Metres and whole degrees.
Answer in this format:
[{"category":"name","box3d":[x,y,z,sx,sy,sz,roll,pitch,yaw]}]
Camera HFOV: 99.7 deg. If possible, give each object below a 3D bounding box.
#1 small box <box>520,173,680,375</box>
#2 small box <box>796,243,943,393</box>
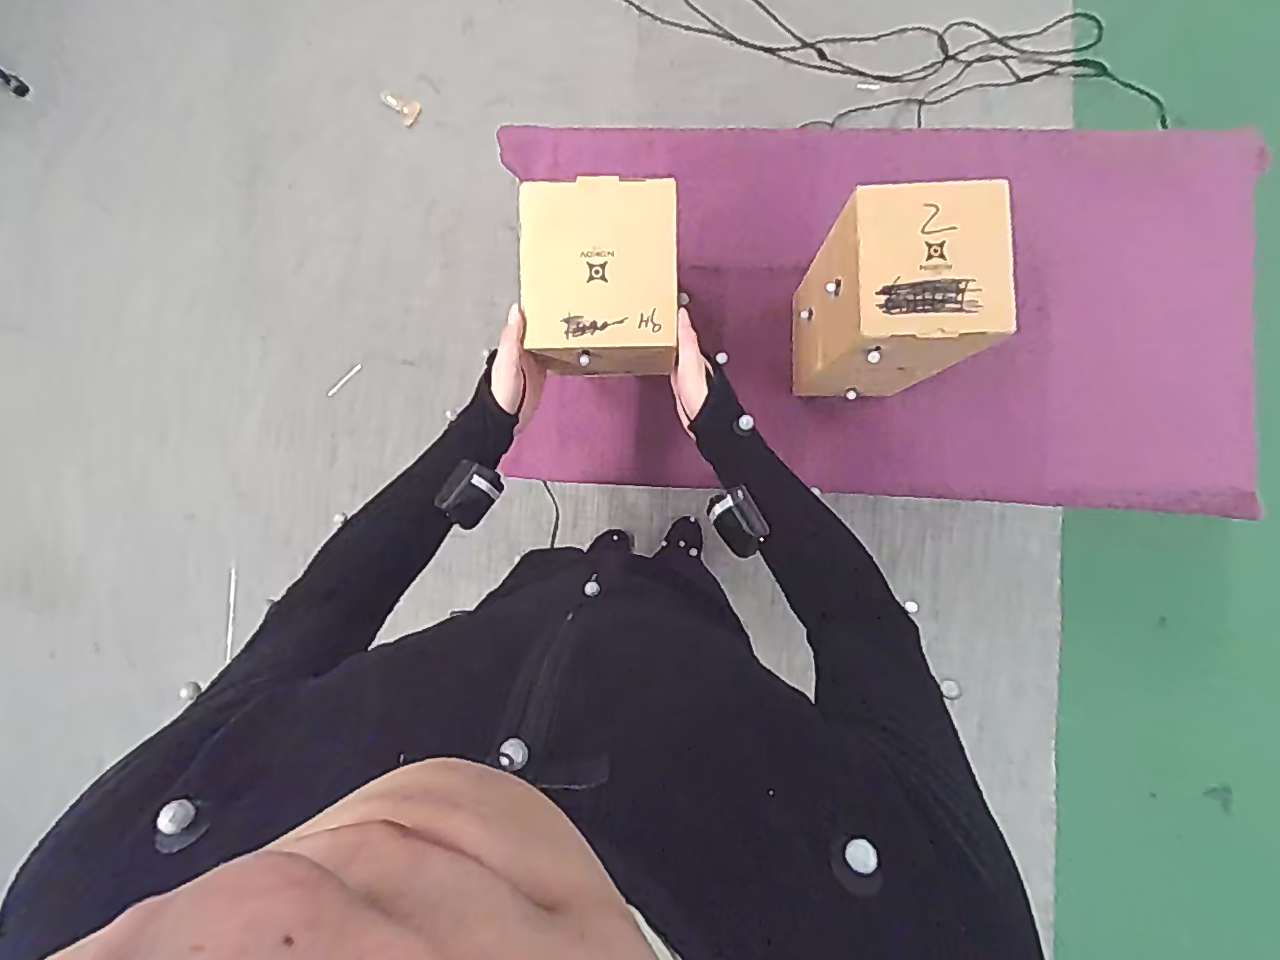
[{"category":"small box","box3d":[-0.038,-0.226,0.633,0.168,0.176,0.179,0,91,3]},{"category":"small box","box3d":[0.339,-0.238,0.827,0.168,0.176,0.179,1,88,4]}]
